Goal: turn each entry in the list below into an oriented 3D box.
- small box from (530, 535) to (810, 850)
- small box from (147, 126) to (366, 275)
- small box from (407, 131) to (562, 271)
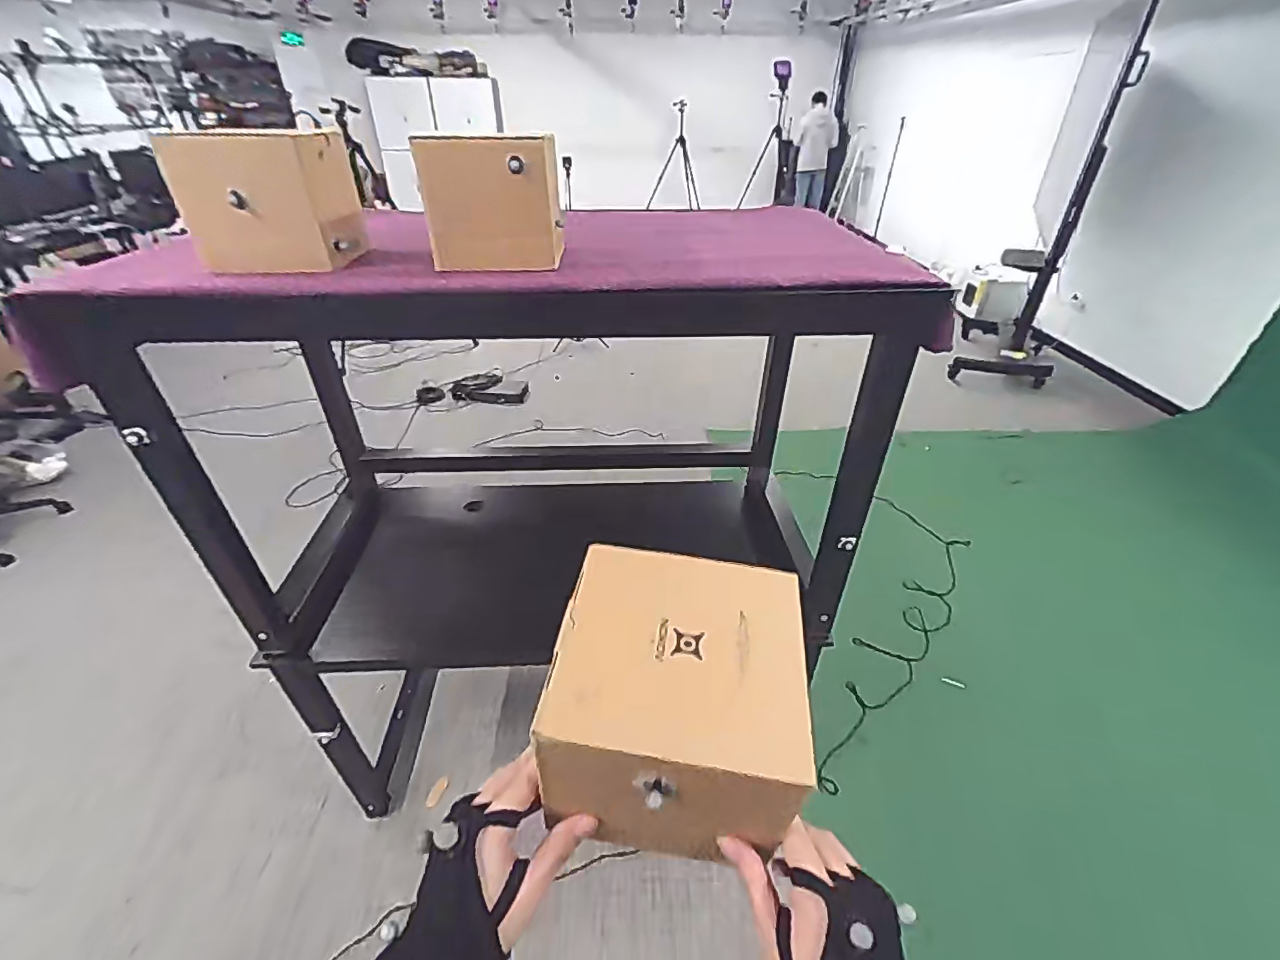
[{"bbox_3d":[0.026,0.170,0.438,0.179,0.176,0.168,8,41,6],"label":"small box"},{"bbox_3d":[-0.522,-0.401,0.775,0.179,0.176,0.168,-3,35,-4],"label":"small box"},{"bbox_3d":[-0.214,-0.412,0.796,0.179,0.176,0.168,-1,35,-3],"label":"small box"}]
